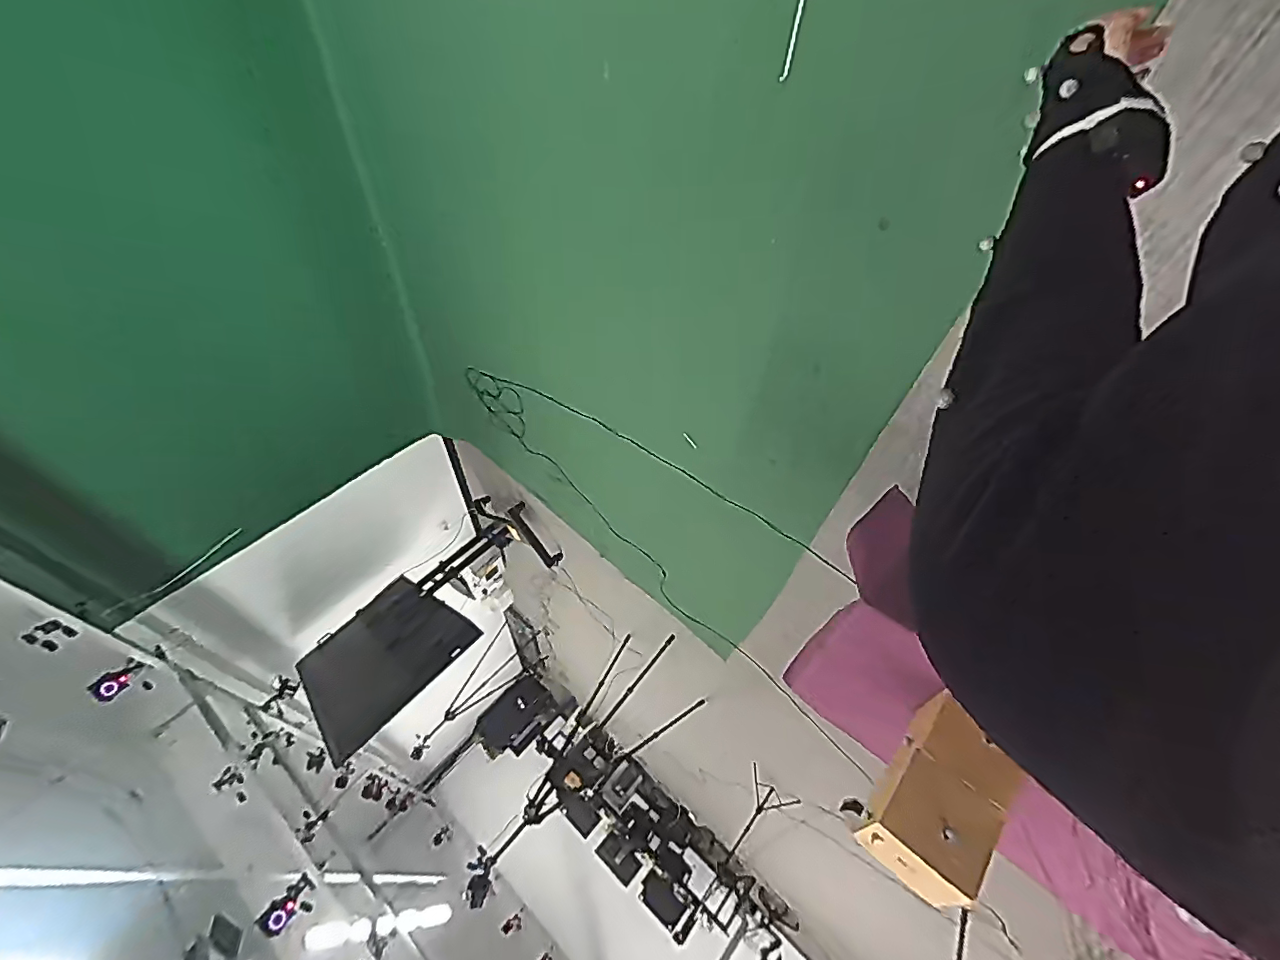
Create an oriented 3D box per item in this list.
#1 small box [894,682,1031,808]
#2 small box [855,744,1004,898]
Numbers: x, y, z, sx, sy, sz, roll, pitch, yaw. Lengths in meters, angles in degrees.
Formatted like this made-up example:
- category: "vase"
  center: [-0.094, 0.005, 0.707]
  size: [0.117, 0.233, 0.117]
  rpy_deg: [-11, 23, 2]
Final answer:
- category: "small box"
  center: [0.659, 0.553, 1.111]
  size: [0.168, 0.176, 0.179]
  rpy_deg: [34, 147, 25]
- category: "small box"
  center: [0.549, 0.646, 1.030]
  size: [0.179, 0.176, 0.168]
  rpy_deg: [33, 147, 25]
